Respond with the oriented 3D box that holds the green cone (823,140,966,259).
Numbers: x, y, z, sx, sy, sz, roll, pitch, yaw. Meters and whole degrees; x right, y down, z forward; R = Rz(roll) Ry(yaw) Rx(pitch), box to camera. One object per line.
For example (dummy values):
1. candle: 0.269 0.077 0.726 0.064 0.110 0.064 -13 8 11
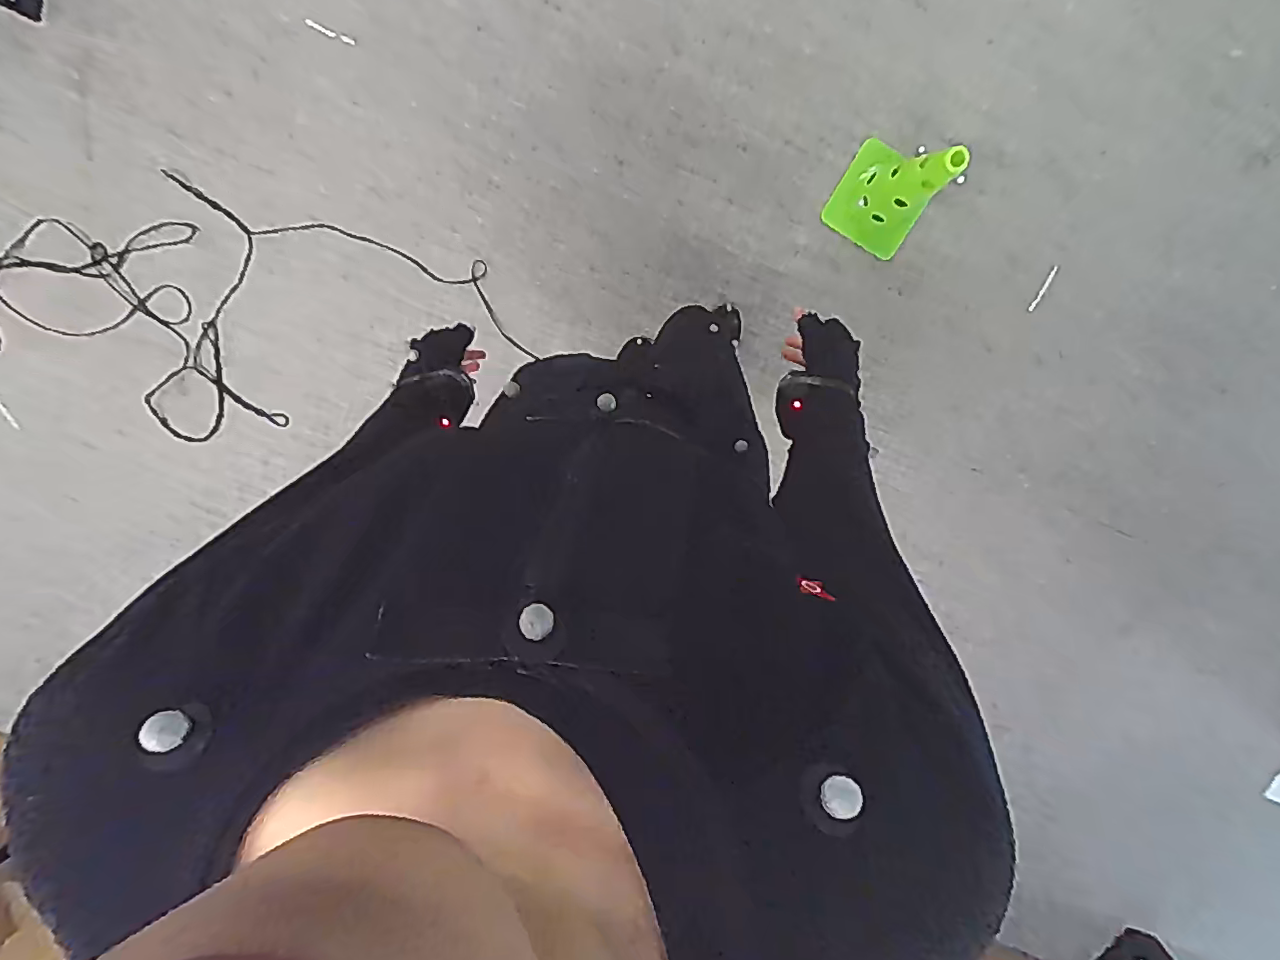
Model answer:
1. green cone: 0.544 -0.598 1.088 0.200 0.368 0.202 28 106 -5
